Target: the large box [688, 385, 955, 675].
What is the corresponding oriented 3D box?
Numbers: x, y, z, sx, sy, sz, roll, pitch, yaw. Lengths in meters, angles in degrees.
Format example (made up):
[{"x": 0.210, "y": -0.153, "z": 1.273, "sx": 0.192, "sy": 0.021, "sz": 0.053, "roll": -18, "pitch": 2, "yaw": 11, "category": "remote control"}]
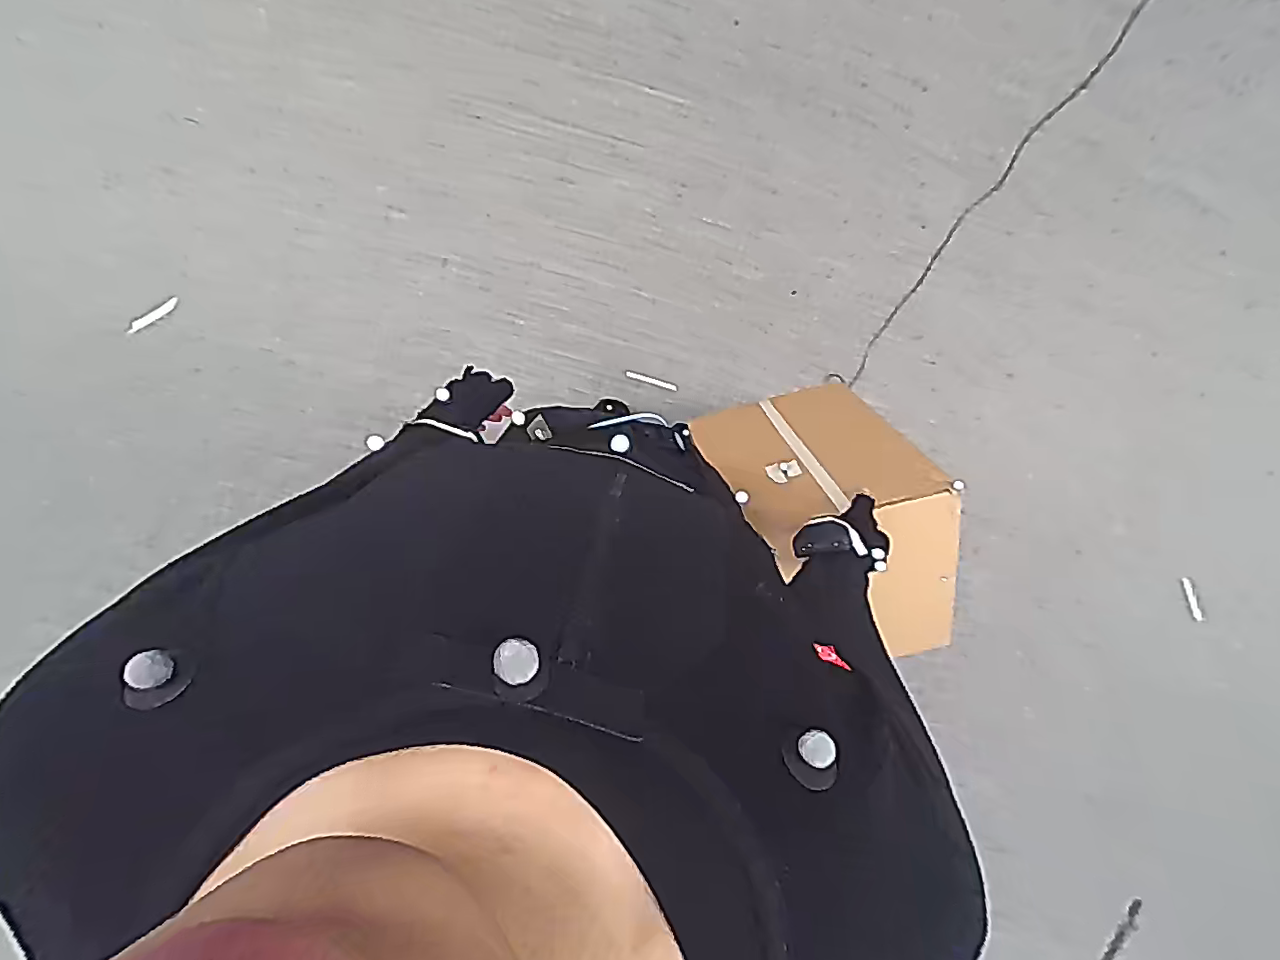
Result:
[{"x": 0.296, "y": 0.071, "z": 0.988, "sx": 0.320, "sy": 0.408, "sz": 0.320, "roll": -15, "pitch": 122, "yaw": 3, "category": "large box"}]
